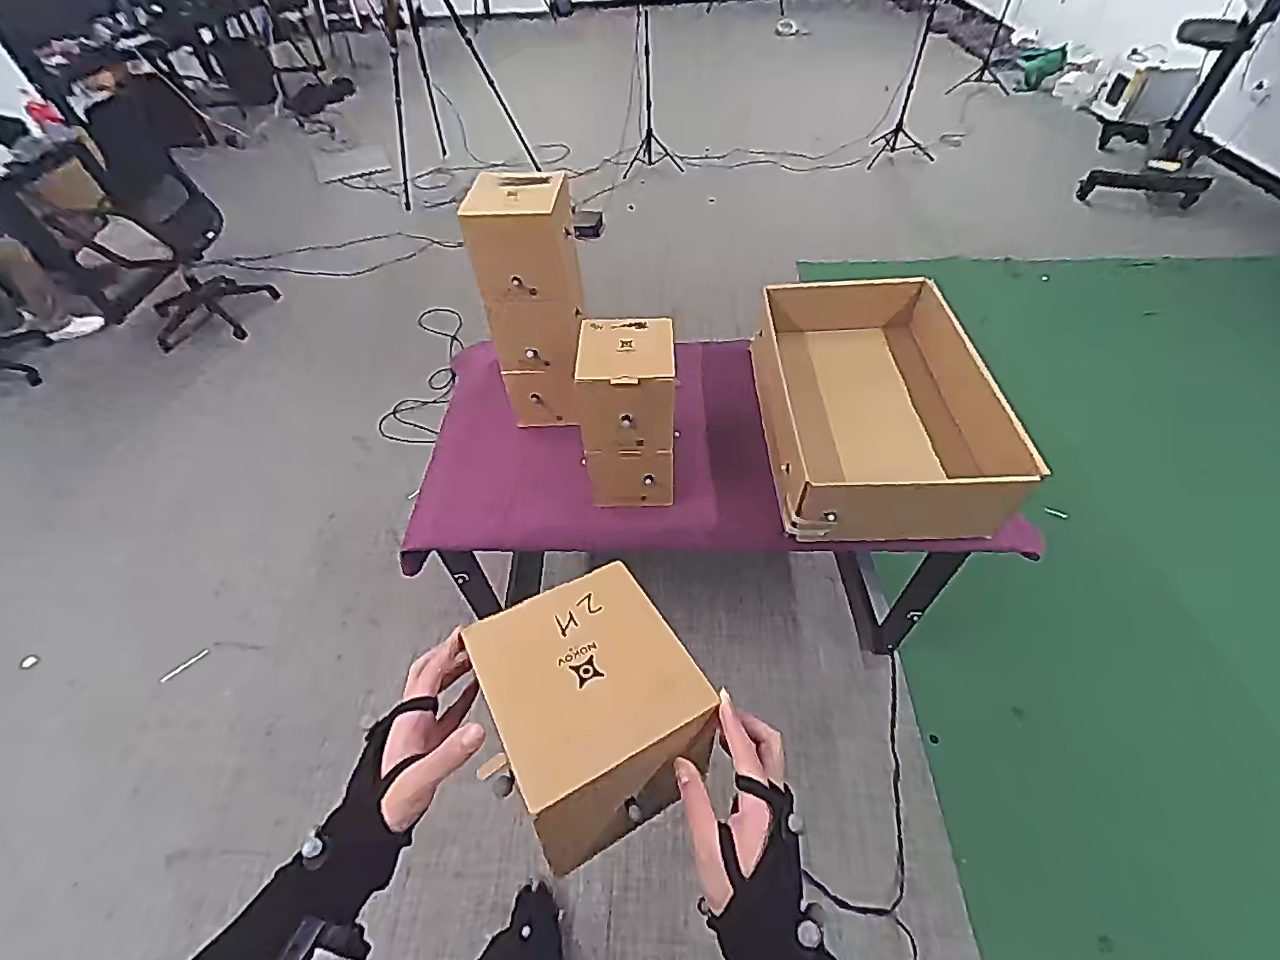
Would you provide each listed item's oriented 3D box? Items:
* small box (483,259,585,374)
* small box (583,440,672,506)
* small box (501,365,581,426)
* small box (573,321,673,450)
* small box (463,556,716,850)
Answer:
[{"bbox_3d":[-0.213,-0.347,1.147,0.168,0.176,0.179,1,50,4],"label":"small box"},{"bbox_3d":[-0.018,-0.059,1.108,0.168,0.176,0.179,0,48,2],"label":"small box"},{"bbox_3d":[-0.214,-0.238,1.271,0.168,0.176,0.179,-2,49,2],"label":"small box"},{"bbox_3d":[-0.023,-0.169,0.986,0.168,0.176,0.179,0,50,1],"label":"small box"},{"bbox_3d":[-0.048,0.210,0.510,0.168,0.176,0.179,-19,44,-22],"label":"small box"}]
